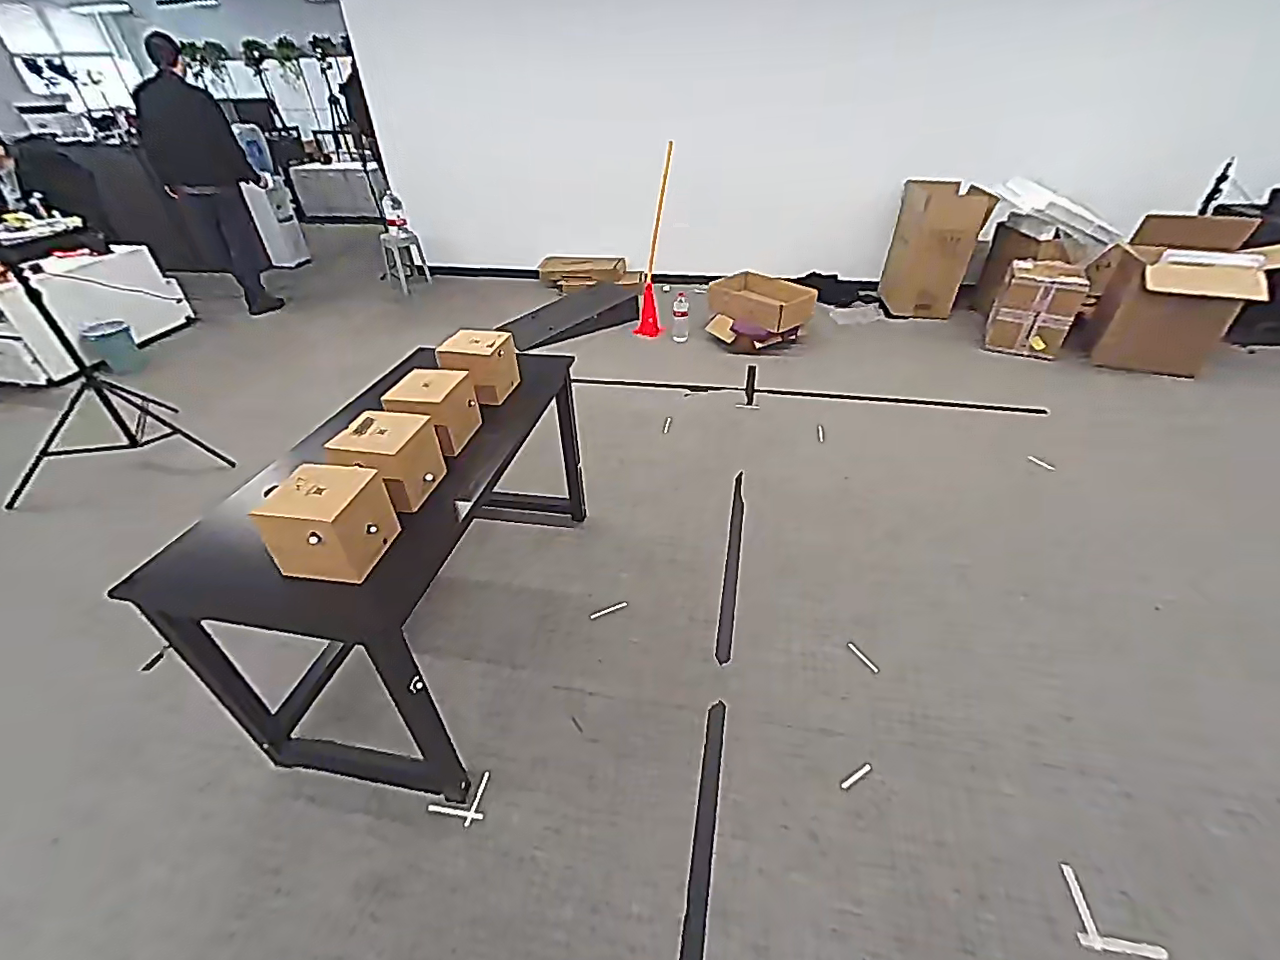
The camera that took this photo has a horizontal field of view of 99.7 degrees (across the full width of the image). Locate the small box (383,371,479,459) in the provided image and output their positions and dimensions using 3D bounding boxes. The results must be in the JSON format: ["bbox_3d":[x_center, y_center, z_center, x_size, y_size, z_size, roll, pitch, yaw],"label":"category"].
[{"bbox_3d":[-0.553,-0.177,1.461,0.168,0.176,0.179,3,39,9],"label":"small box"}]

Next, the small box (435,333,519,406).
[{"bbox_3d":[-0.497,-0.342,1.671,0.179,0.176,0.168,5,39,11],"label":"small box"}]
